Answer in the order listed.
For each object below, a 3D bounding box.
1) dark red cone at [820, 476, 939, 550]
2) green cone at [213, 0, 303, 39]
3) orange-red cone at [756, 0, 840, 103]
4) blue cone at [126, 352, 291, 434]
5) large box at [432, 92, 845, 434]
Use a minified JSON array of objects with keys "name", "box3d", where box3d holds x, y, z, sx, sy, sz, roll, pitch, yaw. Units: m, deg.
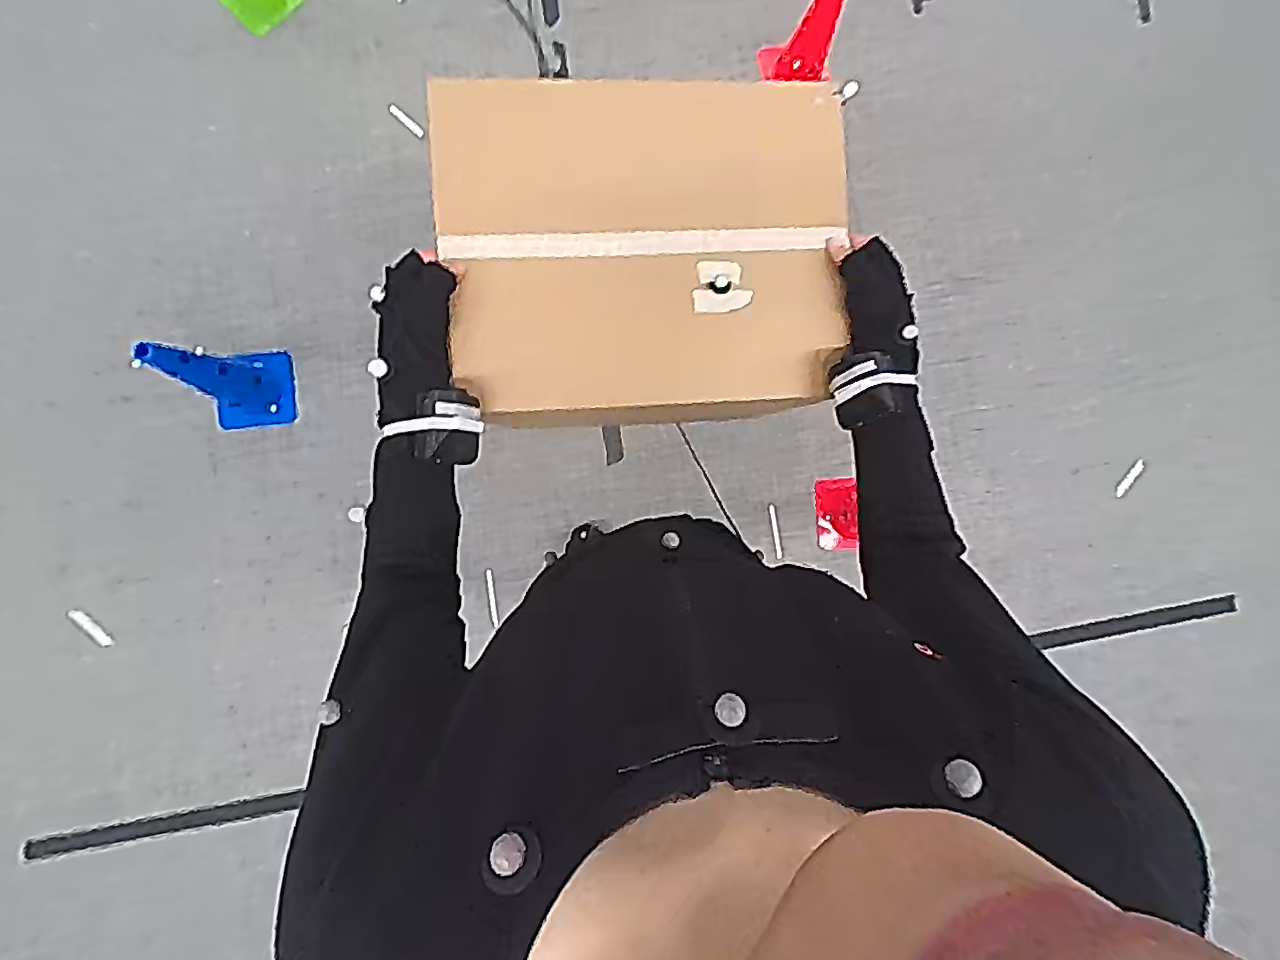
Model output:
[{"name":"dark red cone","box3d":[0.609,0.081,1.339,0.201,0.394,0.202,-3,87,-3]},{"name":"green cone","box3d":[-1.061,-1.366,1.339,0.200,0.368,0.202,43,86,0]},{"name":"orange-red cone","box3d":[0.466,-1.208,1.433,0.198,0.360,0.199,-12,86,-5]},{"name":"blue cone","box3d":[-1.030,-0.236,1.289,0.192,0.380,0.193,-6,87,-3]},{"name":"large box","box3d":[-0.010,-0.234,0.688,0.408,0.320,0.320,-4,92,-6]}]
